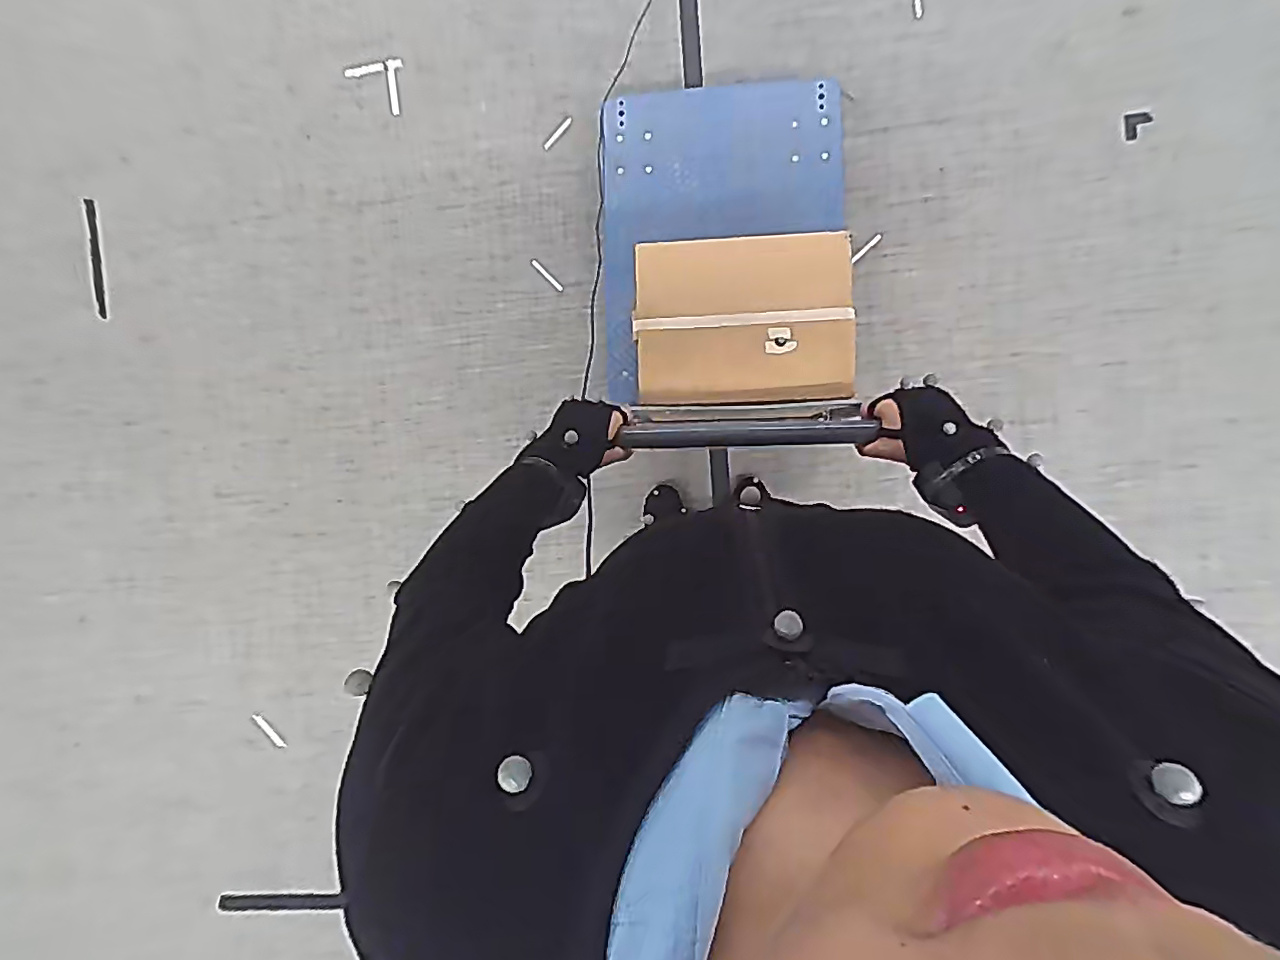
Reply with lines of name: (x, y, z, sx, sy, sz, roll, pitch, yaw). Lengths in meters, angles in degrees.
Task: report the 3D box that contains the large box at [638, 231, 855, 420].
large box: (0.211, -0.309, 1.182, 0.408, 0.320, 0.320, -2, 91, 4)
